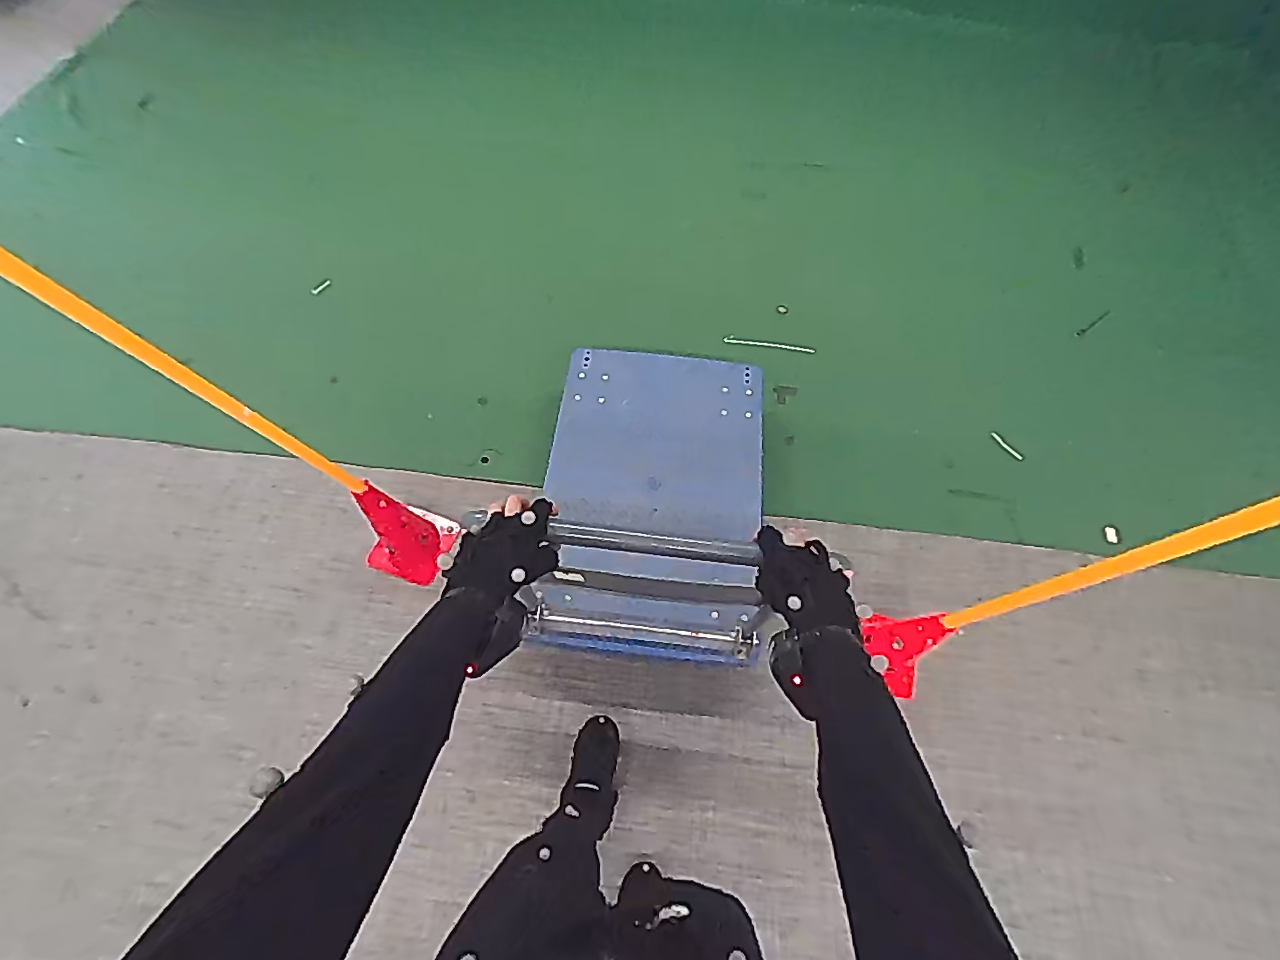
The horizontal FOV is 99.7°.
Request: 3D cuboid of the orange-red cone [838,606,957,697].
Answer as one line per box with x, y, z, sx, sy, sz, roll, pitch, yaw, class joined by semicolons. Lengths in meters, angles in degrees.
0.633;0.369;1.266;0.198;0.360;0.199;17;64;7;orange-red cone
